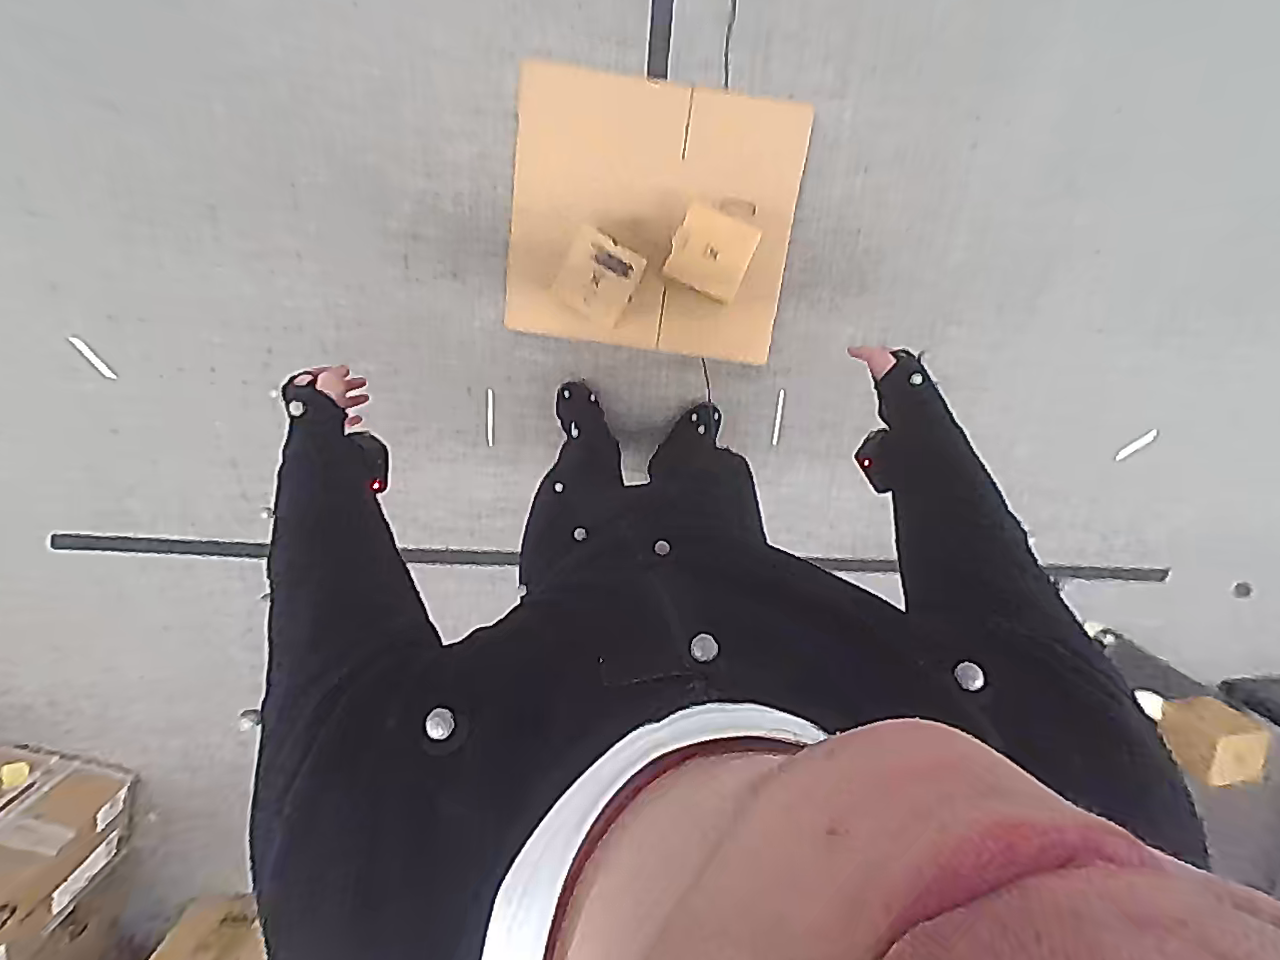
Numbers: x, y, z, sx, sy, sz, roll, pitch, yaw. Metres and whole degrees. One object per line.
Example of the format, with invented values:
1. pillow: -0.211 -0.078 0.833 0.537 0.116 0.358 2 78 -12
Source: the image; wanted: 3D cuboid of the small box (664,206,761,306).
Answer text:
1. small box: 0.168 -0.532 1.309 0.179 0.176 0.168 23 104 -3
